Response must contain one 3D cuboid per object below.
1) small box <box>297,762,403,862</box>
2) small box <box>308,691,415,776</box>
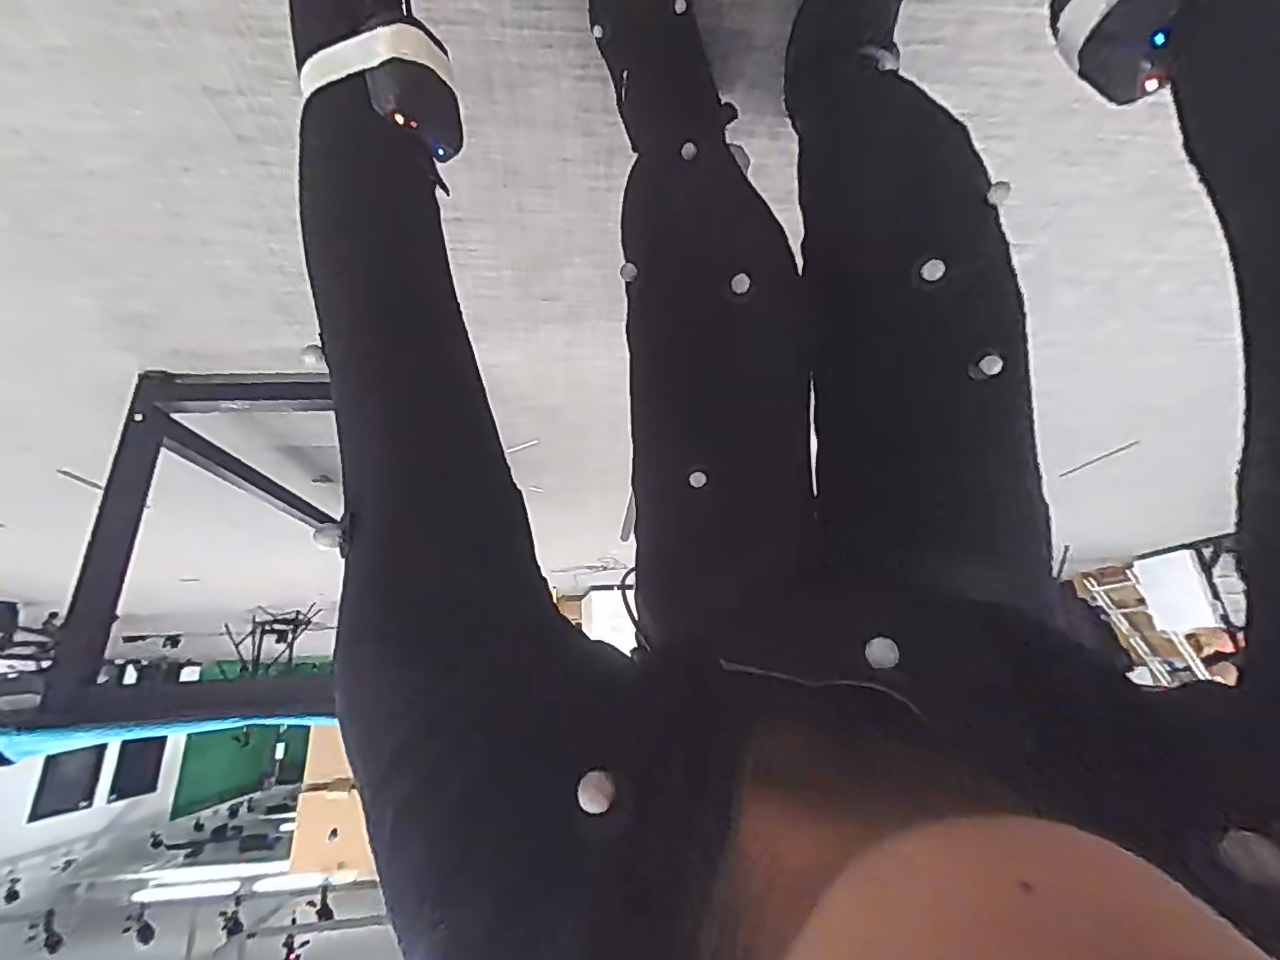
[{"bbox_3d":[-0.667,0.763,1.255,0.168,0.176,0.179,1,163,-6],"label":"small box"},{"bbox_3d":[-0.669,0.611,1.314,0.179,0.176,0.168,-1,161,-4],"label":"small box"}]
